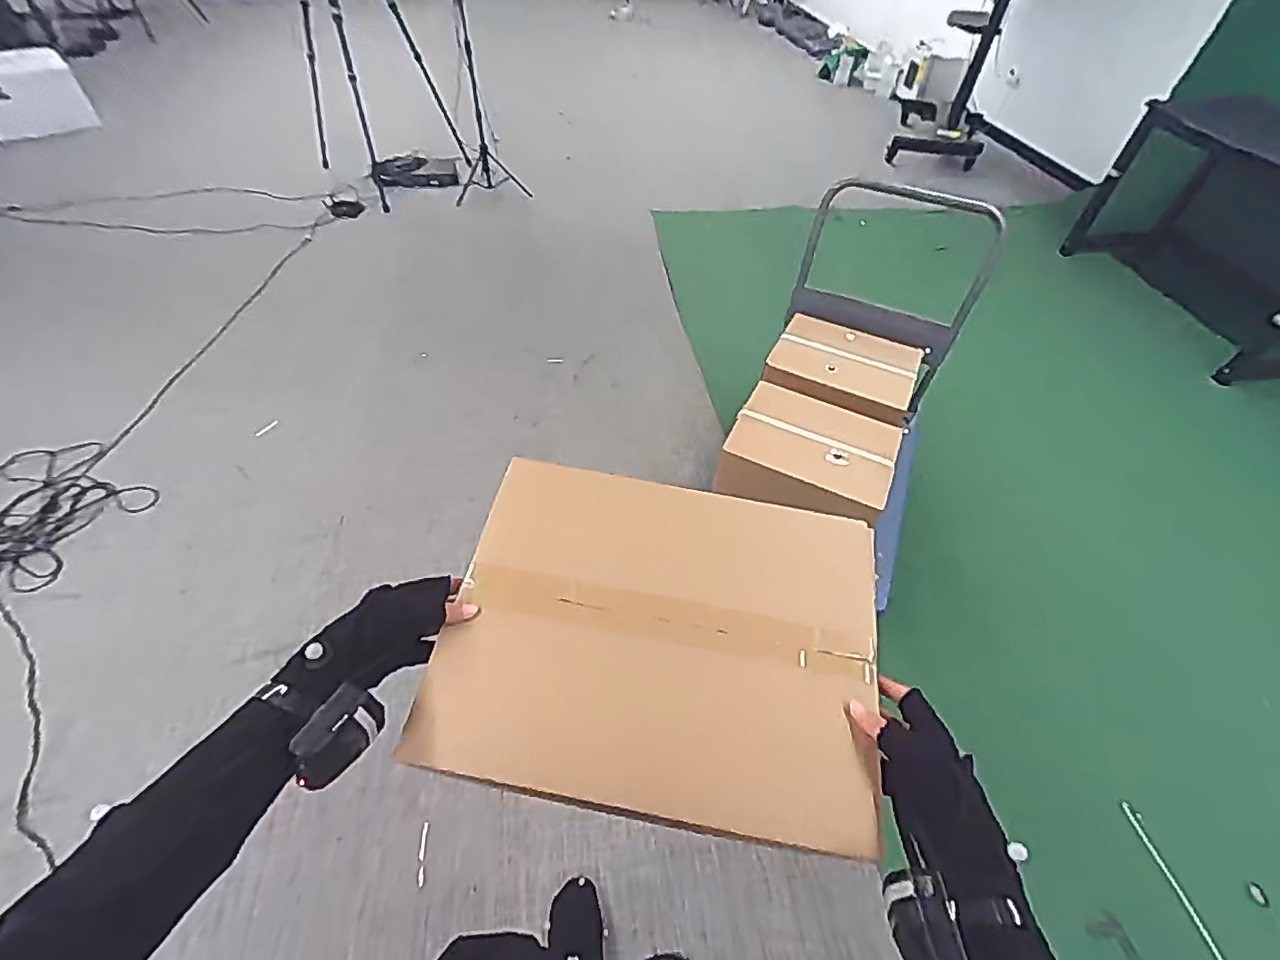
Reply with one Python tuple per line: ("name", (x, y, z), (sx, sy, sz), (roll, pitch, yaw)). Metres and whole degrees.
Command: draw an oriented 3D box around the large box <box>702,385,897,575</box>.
("large box", (0.429, -0.003, 1.501), (0.408, 0.320, 0.320), (23, 51, 14))
